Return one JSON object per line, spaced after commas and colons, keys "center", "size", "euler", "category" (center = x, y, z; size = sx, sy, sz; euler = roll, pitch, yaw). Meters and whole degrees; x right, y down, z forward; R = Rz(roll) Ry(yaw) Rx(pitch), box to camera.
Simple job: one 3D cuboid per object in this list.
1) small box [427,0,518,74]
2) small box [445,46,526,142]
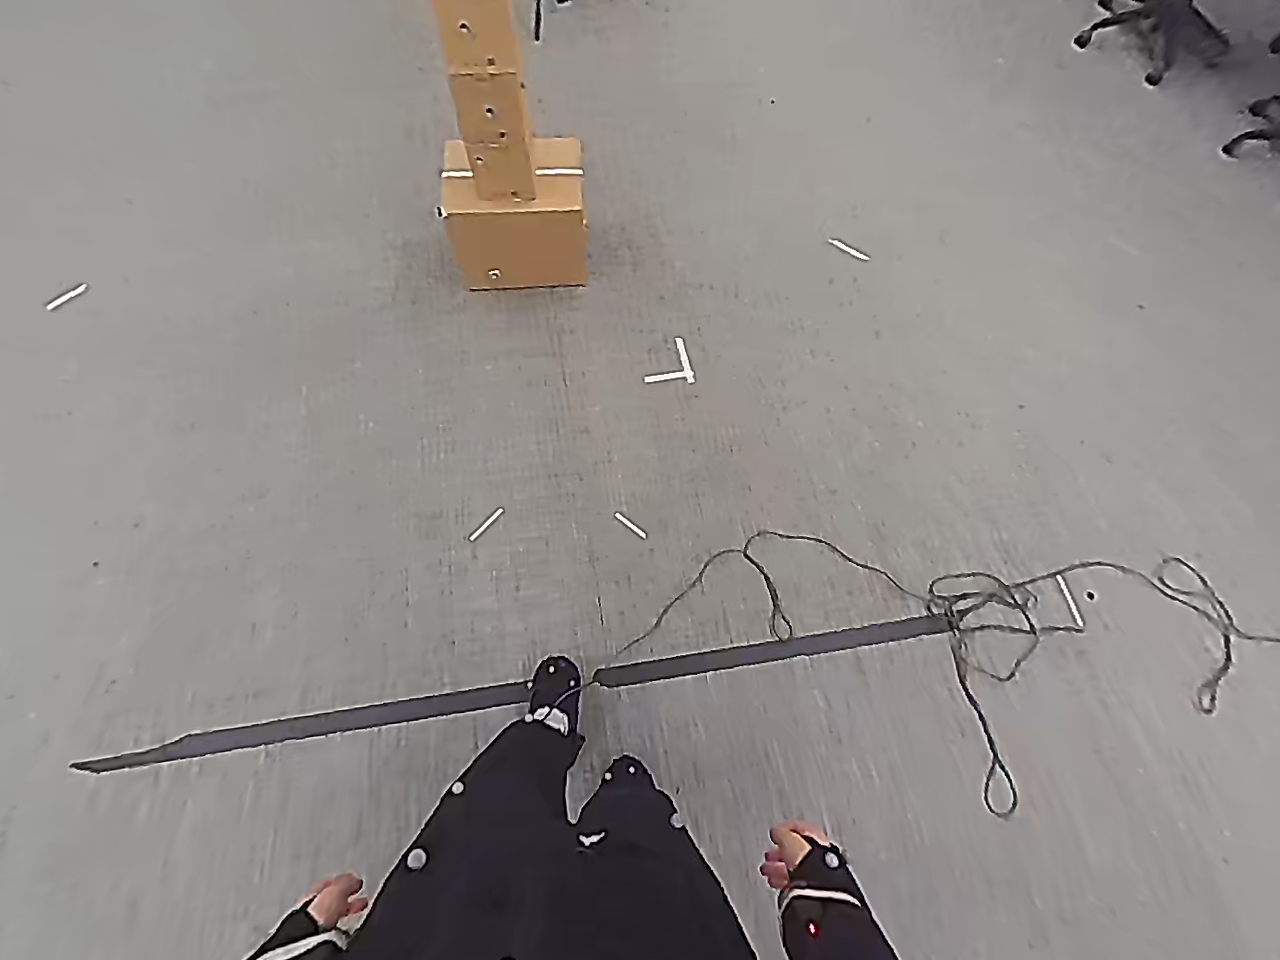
{"center": [-0.370, -1.046, 1.212], "size": [0.168, 0.176, 0.179], "euler": [-6, 67, -5], "category": "small box"}
{"center": [-0.380, -0.984, 1.362], "size": [0.168, 0.176, 0.179], "euler": [-3, 68, -5], "category": "small box"}
